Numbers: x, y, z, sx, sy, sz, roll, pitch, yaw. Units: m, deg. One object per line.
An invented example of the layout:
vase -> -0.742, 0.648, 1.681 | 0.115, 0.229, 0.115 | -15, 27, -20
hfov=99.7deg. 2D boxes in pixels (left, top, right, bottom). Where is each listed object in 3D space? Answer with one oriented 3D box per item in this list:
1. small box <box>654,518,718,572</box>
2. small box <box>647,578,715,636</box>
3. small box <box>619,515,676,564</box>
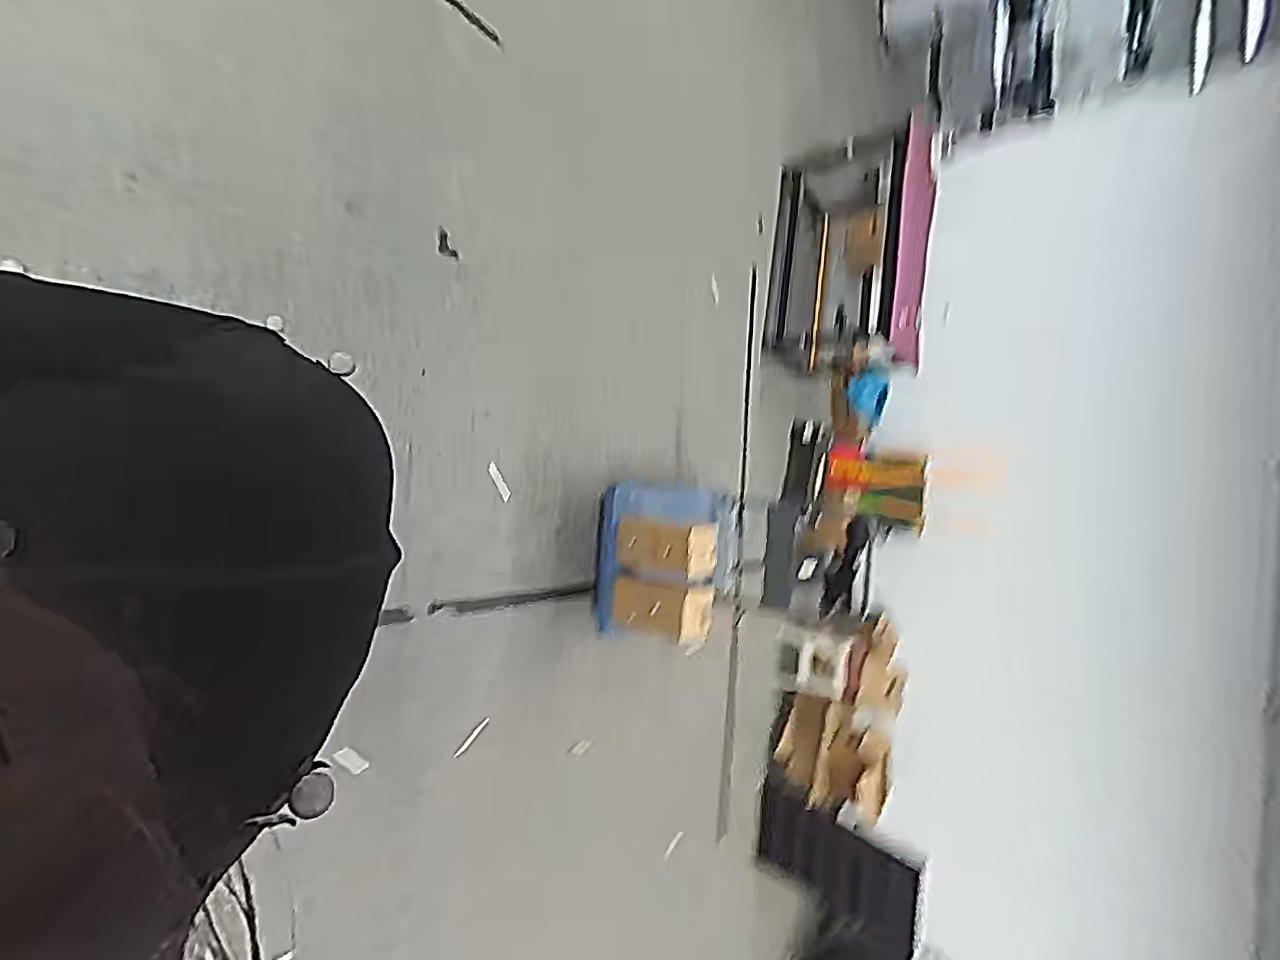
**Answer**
small box -> 0.165, 0.228, 1.946 | 0.179, 0.176, 0.168 | -2, 94, -50
small box -> 0.148, 0.449, 1.942 | 0.179, 0.176, 0.168 | 6, 88, -50
small box -> 0.037, 0.222, 2.051 | 0.179, 0.176, 0.168 | 1, 93, -52
